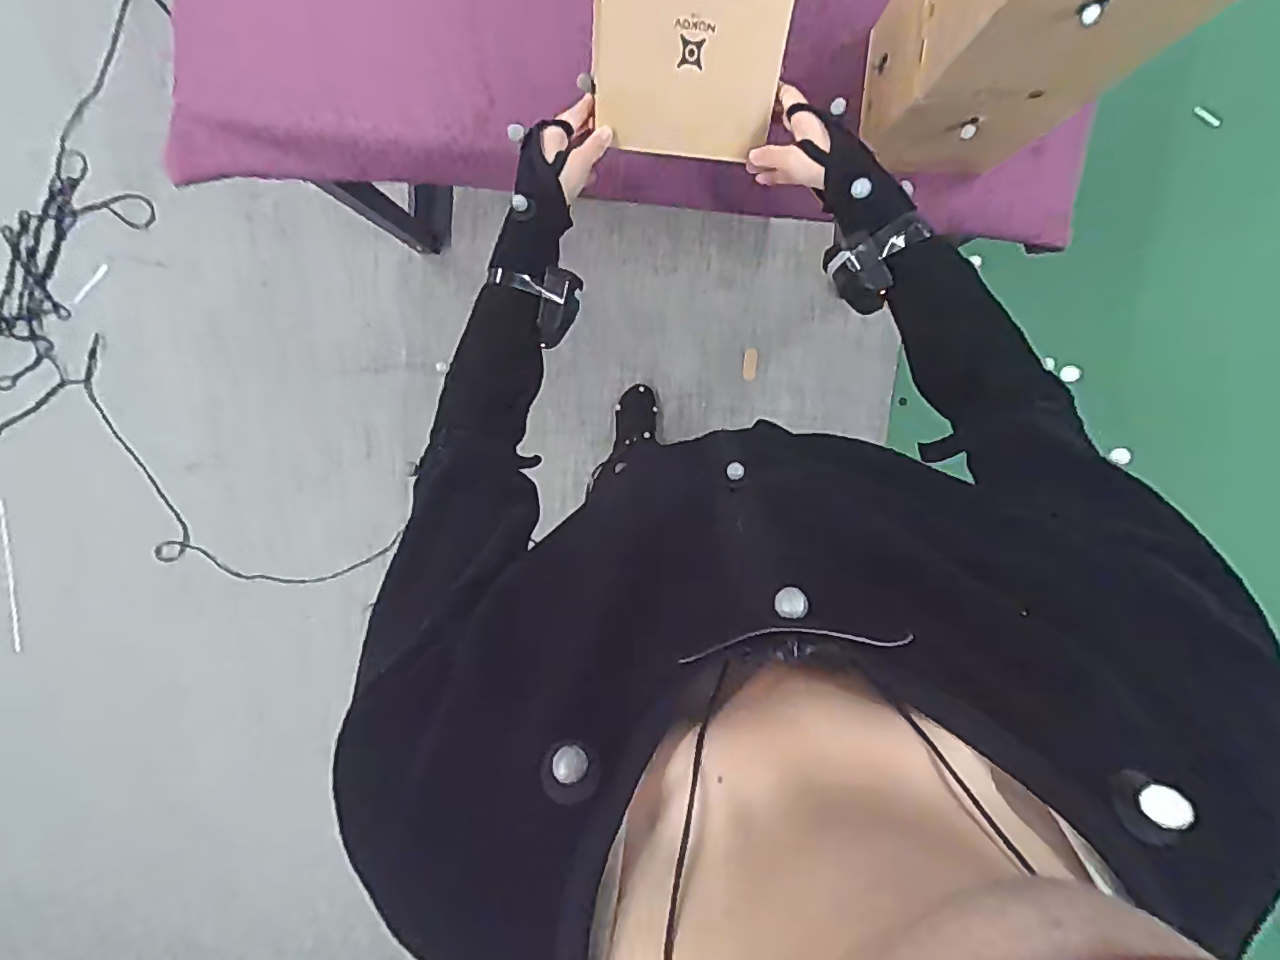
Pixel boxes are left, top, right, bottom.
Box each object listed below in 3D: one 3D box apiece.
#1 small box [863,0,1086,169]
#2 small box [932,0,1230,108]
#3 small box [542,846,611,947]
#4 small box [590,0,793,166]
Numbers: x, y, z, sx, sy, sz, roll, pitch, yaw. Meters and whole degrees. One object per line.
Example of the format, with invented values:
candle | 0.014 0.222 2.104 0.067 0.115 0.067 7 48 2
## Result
small box | 0.382 -0.481 0.624 0.179 0.176 0.168 4 99 4
small box | 0.376 -0.460 0.461 0.168 0.176 0.179 5 98 4
small box | -0.177 1.195 1.562 0.179 0.176 0.168 0 96 4
small box | 0.039 -0.433 0.544 0.168 0.176 0.179 1 125 -10
